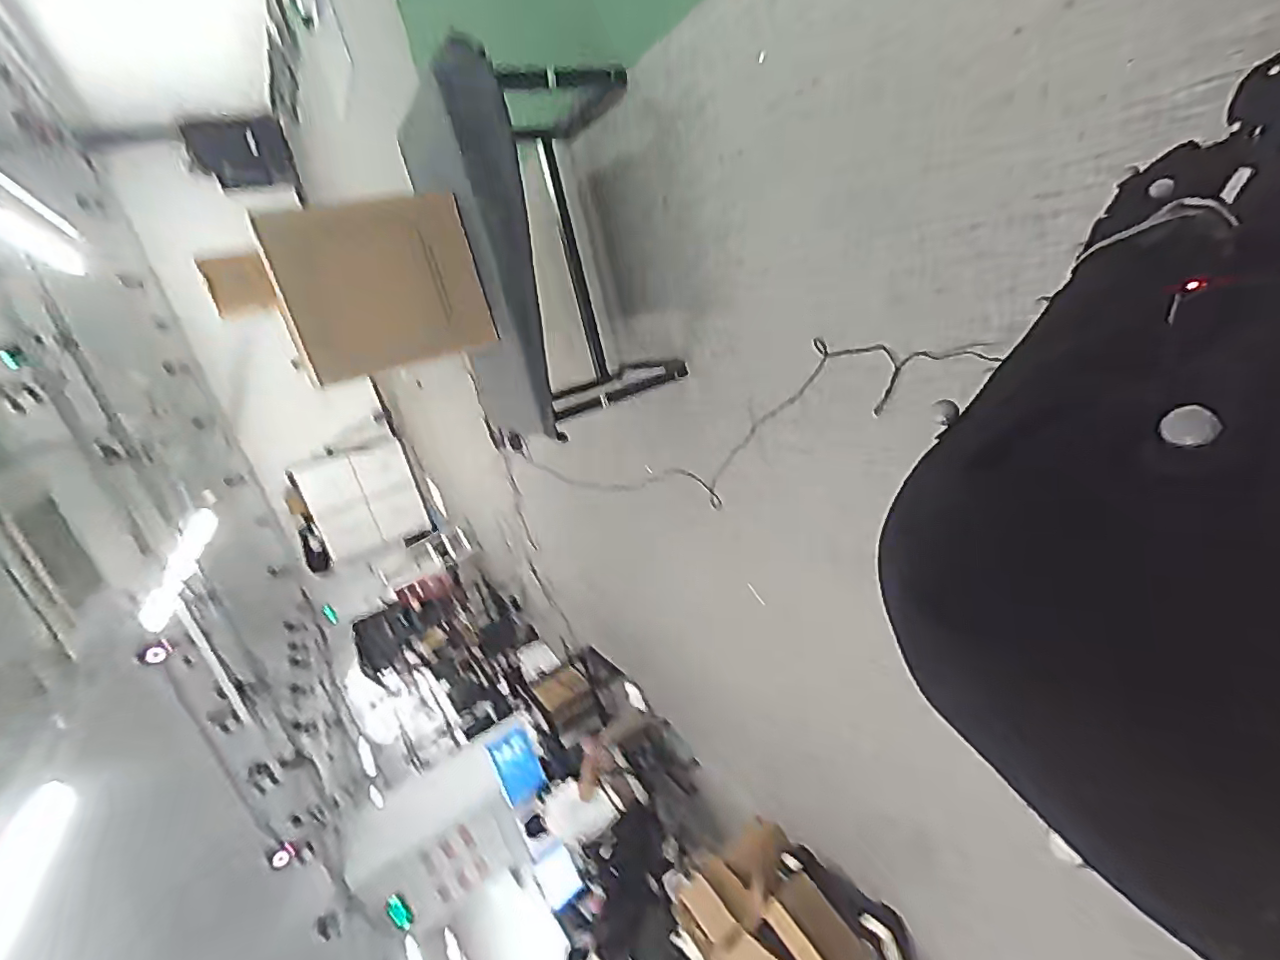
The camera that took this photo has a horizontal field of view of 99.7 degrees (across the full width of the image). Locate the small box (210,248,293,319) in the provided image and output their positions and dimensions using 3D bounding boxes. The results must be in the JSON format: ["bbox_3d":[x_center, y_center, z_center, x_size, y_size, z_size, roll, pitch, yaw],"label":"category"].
[{"bbox_3d":[-1.238,-0.630,1.734,0.179,0.176,0.168,6,116,56],"label":"small box"}]
